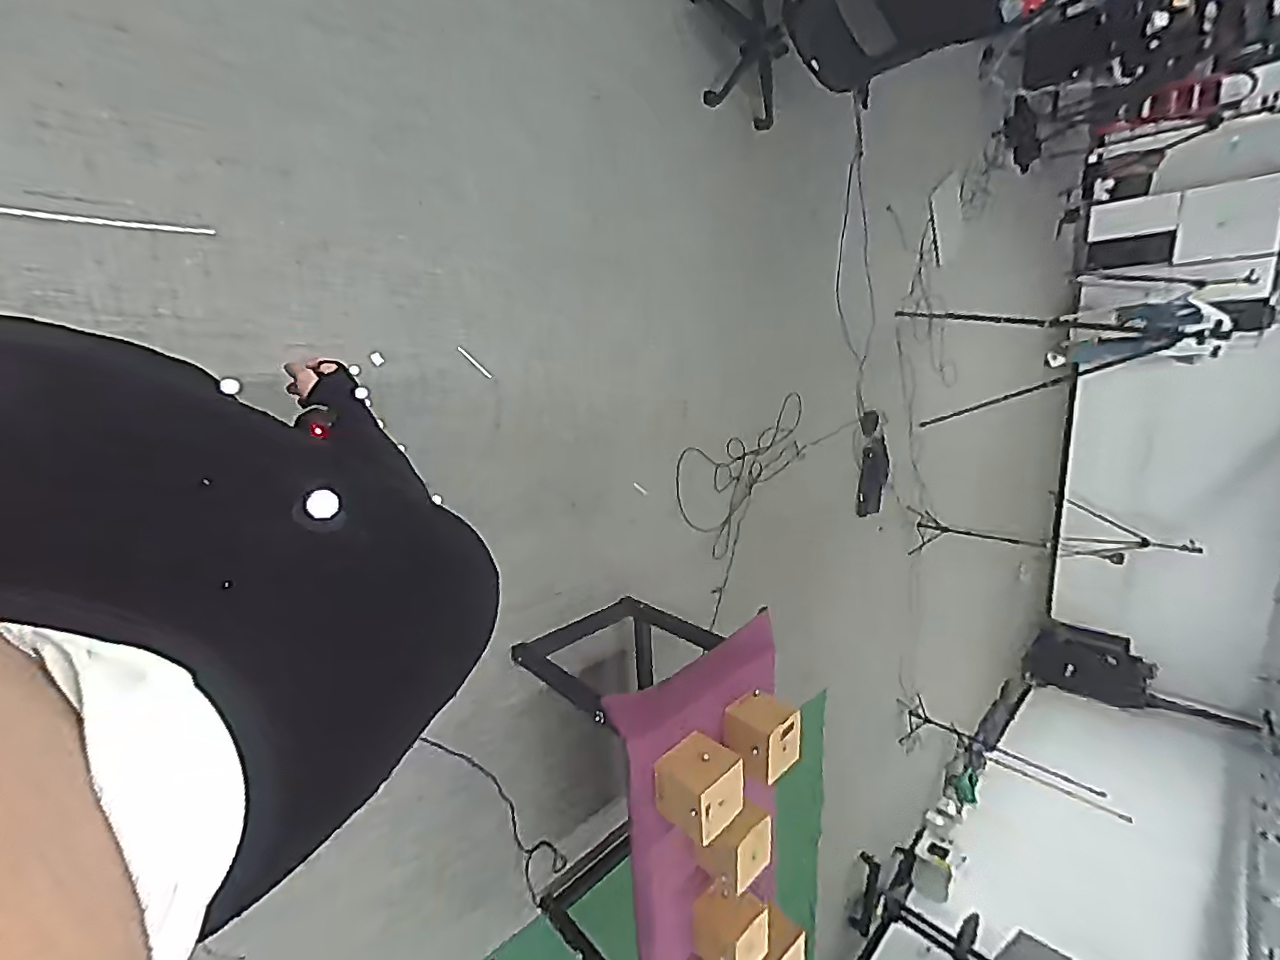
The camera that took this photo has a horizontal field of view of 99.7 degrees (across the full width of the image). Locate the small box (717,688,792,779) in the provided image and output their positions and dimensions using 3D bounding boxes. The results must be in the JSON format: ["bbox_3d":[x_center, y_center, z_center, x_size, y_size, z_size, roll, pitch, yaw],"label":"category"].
[{"bbox_3d":[0.352,0.772,1.677,0.168,0.176,0.179,-13,107,-41],"label":"small box"}]

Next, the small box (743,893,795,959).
[{"bbox_3d":[0.424,1.624,1.903,0.168,0.176,0.179,-10,104,-41],"label":"small box"}]

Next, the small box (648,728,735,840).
[{"bbox_3d":[0.142,0.821,1.483,0.179,0.176,0.168,-16,109,-43],"label":"small box"}]

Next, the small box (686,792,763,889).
[{"bbox_3d":[0.251,1.061,1.634,0.168,0.176,0.179,-13,106,-42],"label":"small box"}]

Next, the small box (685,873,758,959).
[{"bbox_3d":[0.254,1.384,1.702,0.168,0.176,0.179,-12,105,-42],"label":"small box"}]
